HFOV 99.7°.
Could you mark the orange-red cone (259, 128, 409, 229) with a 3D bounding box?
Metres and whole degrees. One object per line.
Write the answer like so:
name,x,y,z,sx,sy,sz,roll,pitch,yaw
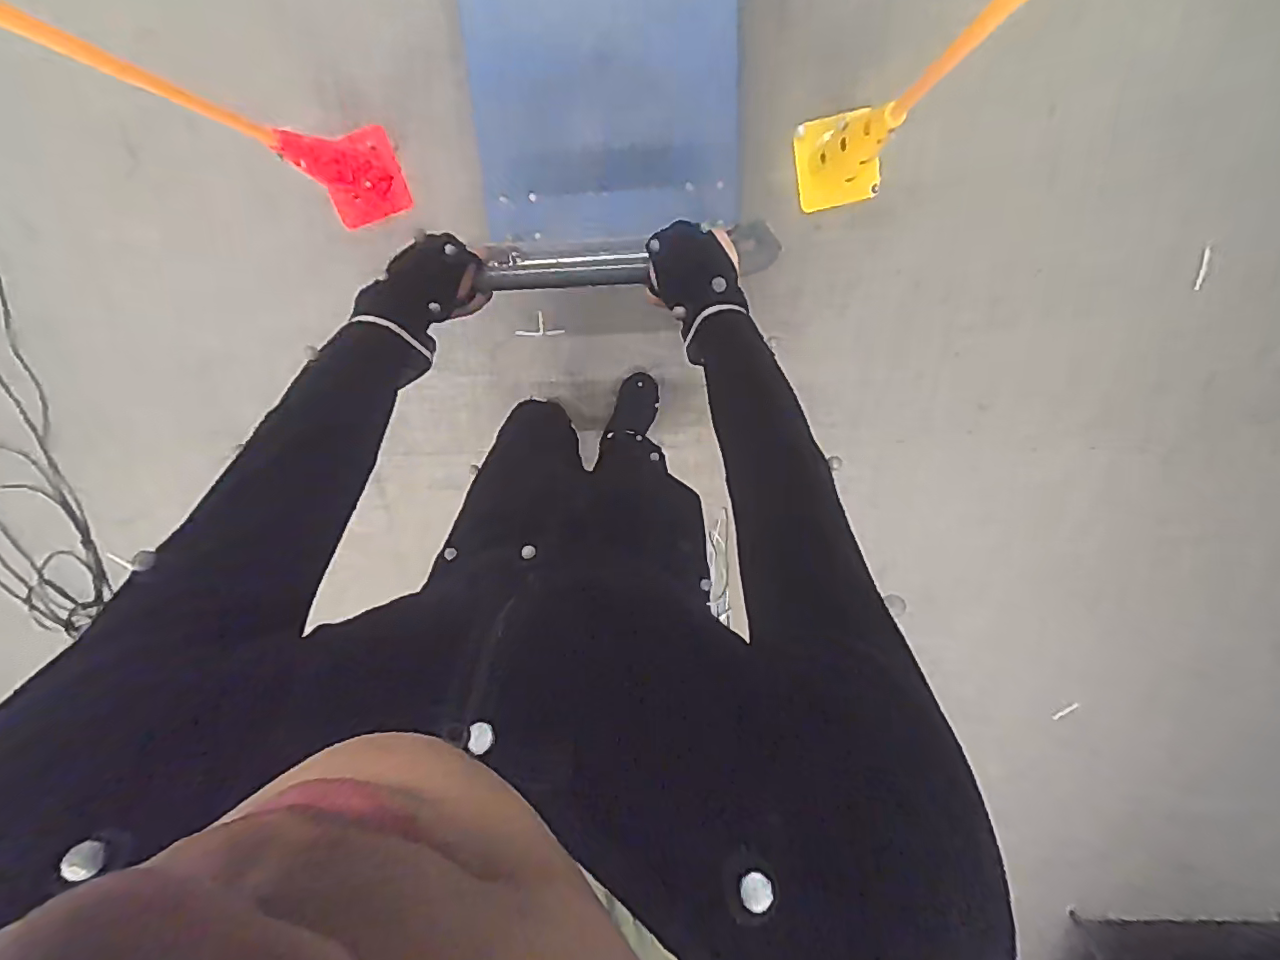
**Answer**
orange-red cone,-0.703,-0.701,1.196,0.199,0.360,0.198,-14,107,7
